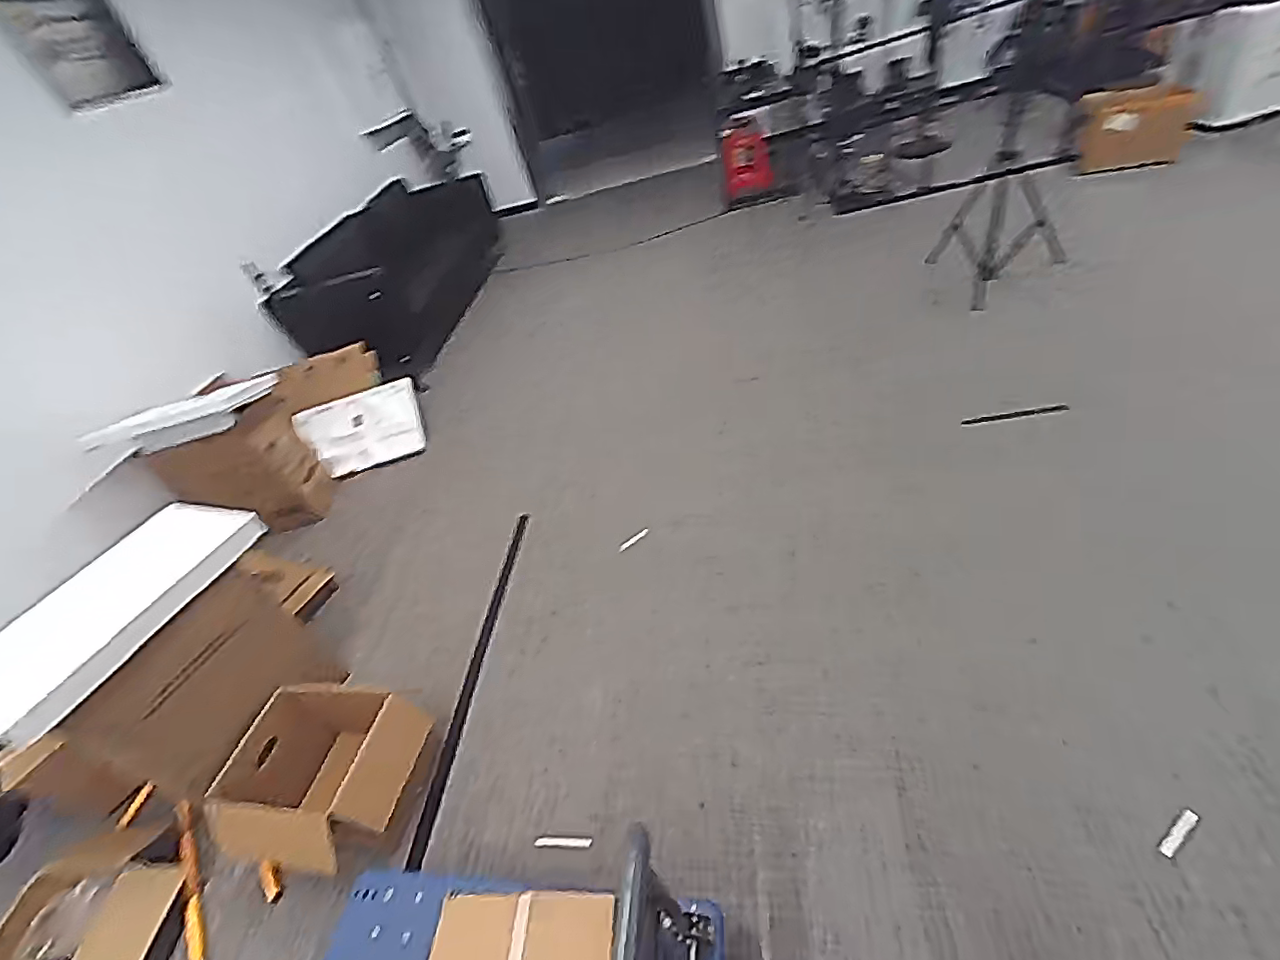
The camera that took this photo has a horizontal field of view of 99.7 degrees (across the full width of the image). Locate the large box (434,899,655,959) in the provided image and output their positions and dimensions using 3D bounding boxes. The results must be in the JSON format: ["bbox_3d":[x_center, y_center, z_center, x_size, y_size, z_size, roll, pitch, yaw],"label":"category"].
[{"bbox_3d":[-0.158,0.953,0.857,0.320,0.320,0.408,-9,40,11],"label":"large box"}]
